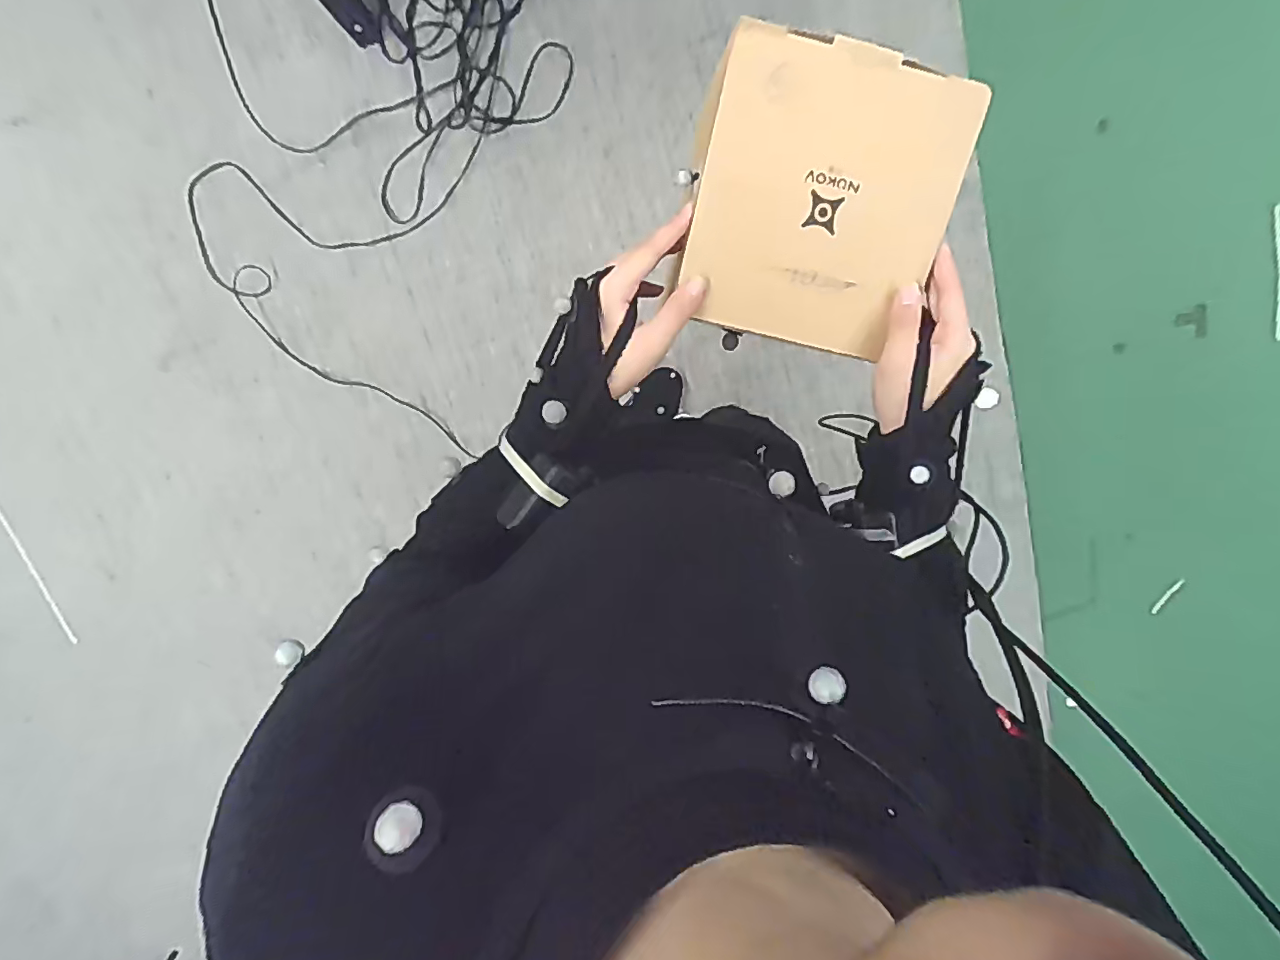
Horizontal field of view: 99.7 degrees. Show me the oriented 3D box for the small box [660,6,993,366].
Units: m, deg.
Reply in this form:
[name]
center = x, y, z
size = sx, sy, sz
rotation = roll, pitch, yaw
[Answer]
[small box]
center = 0.114, -0.200, 0.419
size = 0.168, 0.176, 0.179
rotation = 12, 108, -5
